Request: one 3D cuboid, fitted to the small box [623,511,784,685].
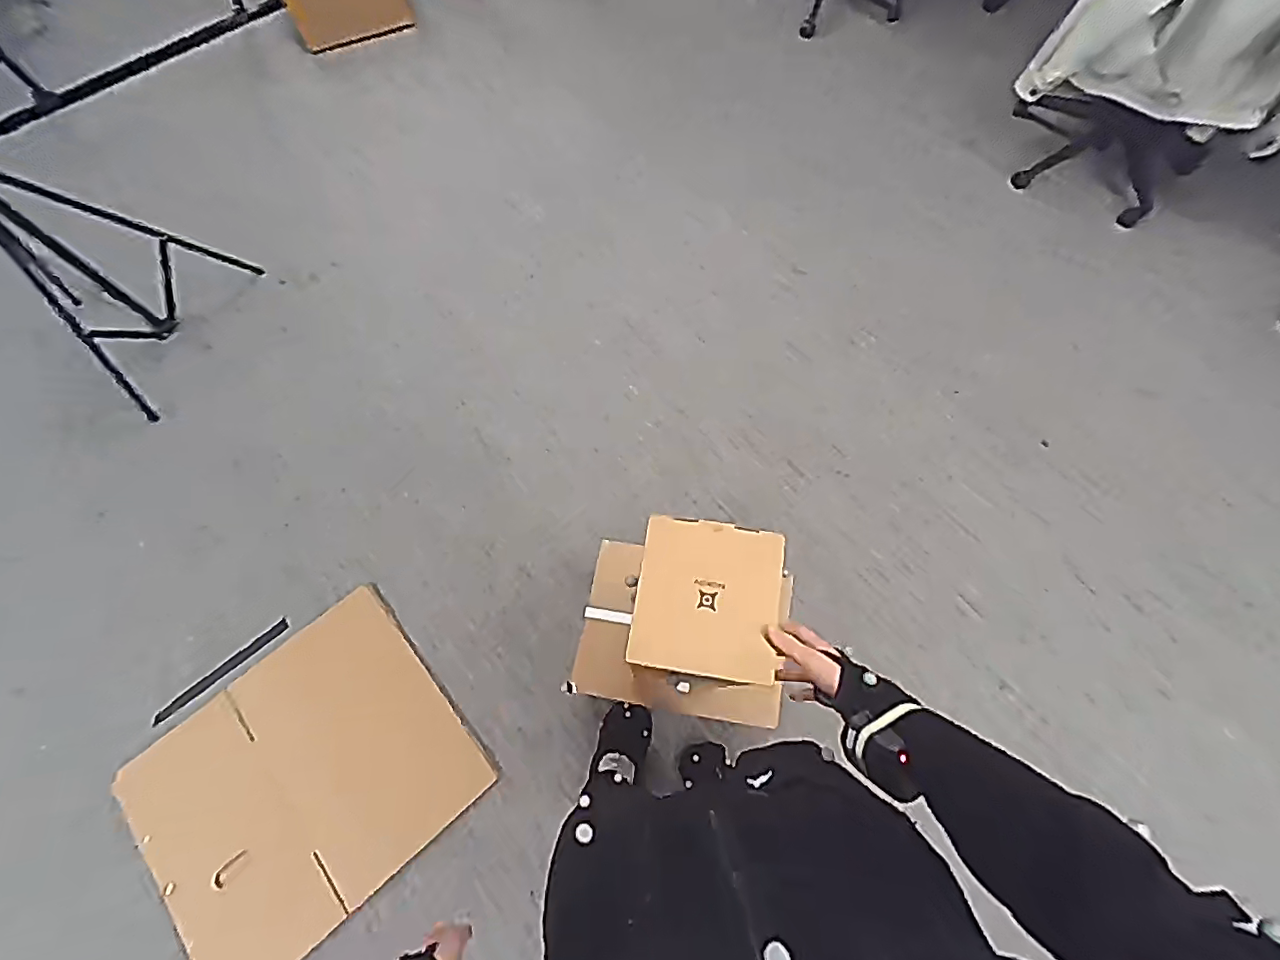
[{"bbox_3d":[0.079,0.158,0.692,0.168,0.176,0.179,9,68,5],"label":"small box"}]
